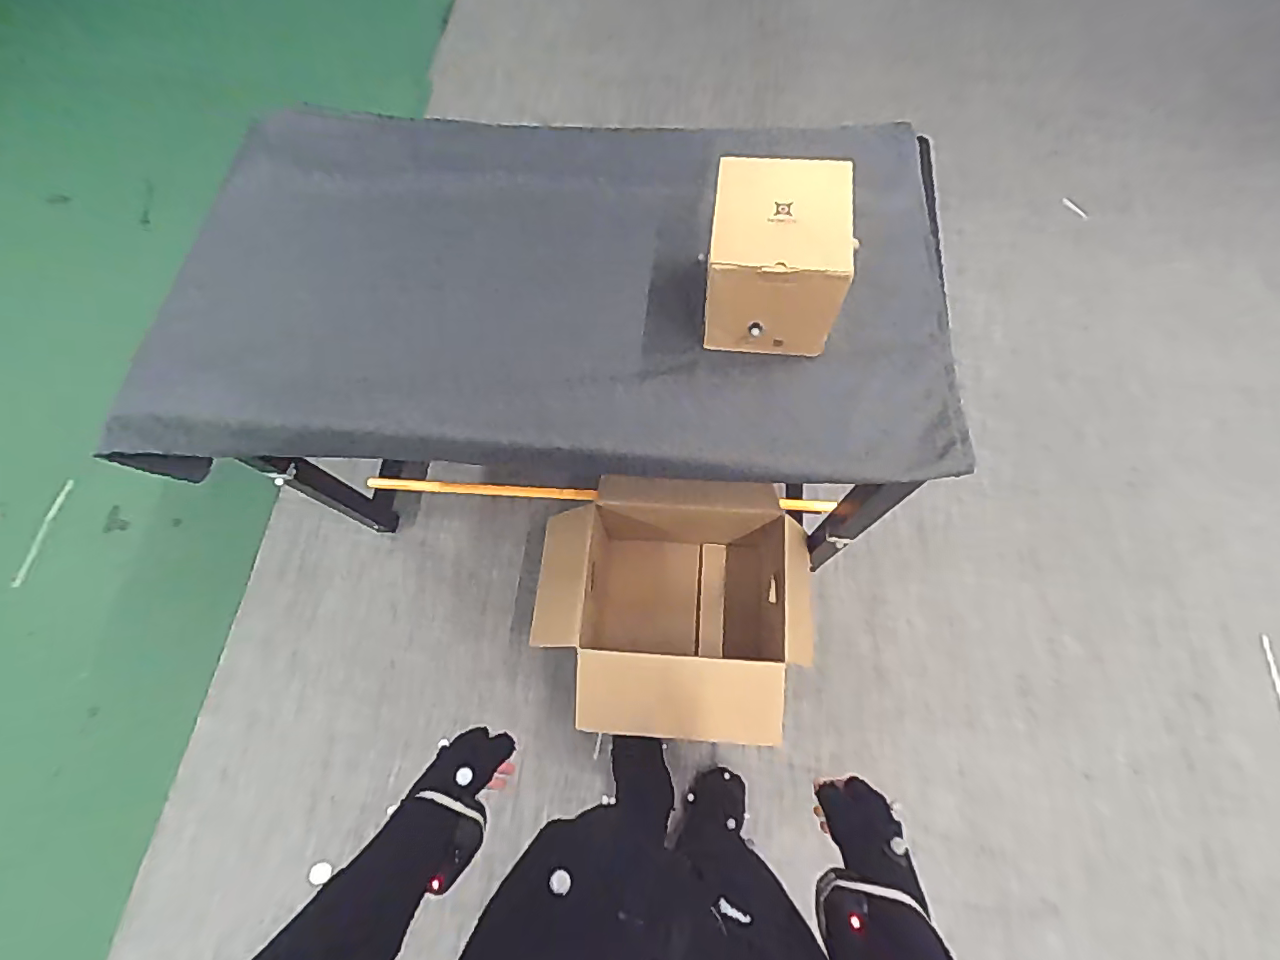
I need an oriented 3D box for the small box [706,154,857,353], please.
[{"bbox_3d":[0.179,-0.295,0.721,0.168,0.176,0.179,5,70,6],"label":"small box"}]
